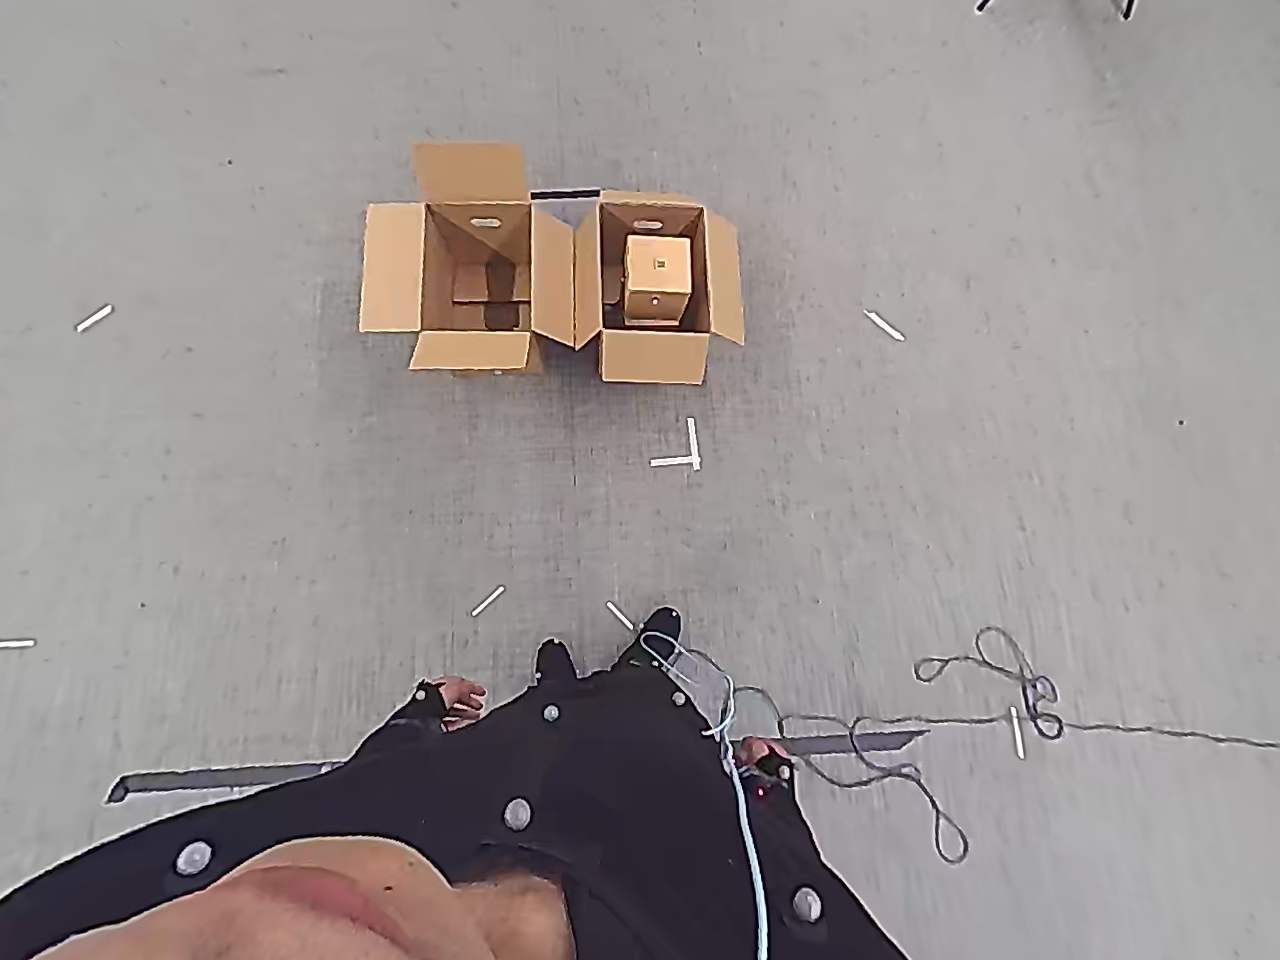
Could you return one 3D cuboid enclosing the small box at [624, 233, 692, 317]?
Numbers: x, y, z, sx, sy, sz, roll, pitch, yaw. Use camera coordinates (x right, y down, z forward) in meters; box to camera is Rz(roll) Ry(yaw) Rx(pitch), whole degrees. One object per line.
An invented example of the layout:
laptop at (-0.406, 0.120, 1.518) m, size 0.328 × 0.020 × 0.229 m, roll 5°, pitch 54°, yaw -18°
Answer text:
small box at (0.049, -0.581, 1.551) m, size 0.179 × 0.176 × 0.168 m, roll 0°, pitch 81°, yaw -5°
